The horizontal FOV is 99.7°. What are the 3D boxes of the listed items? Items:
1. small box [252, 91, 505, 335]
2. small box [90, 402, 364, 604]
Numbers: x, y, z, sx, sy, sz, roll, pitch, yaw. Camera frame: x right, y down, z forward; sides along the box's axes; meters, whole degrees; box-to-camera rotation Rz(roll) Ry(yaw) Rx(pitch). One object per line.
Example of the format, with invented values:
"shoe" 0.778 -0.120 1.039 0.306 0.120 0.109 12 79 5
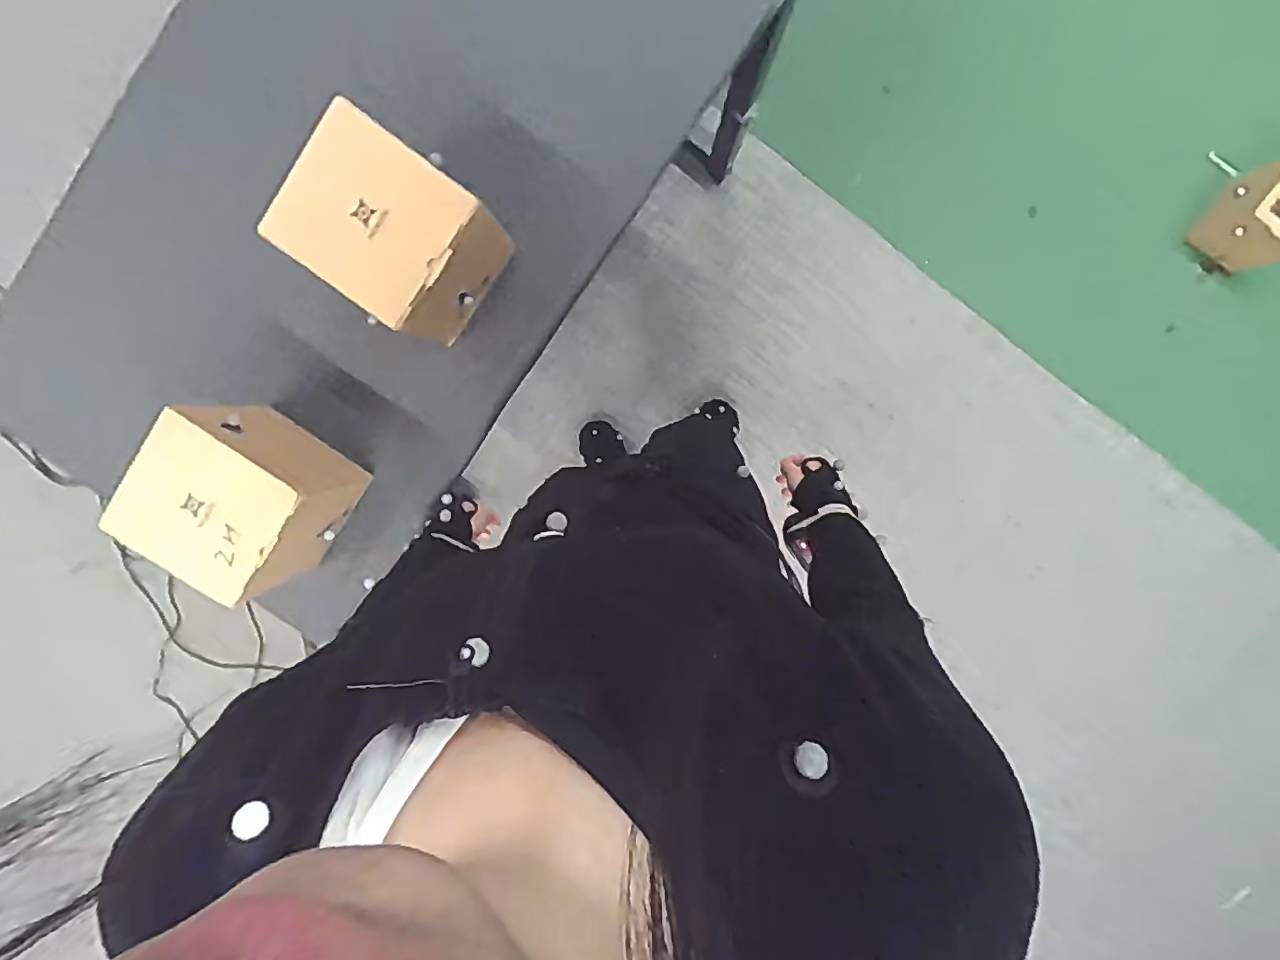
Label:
"small box" -0.288 -0.290 0.639 0.179 0.176 0.168 35 96 -6
"small box" -0.496 0.020 0.678 0.179 0.176 0.168 35 96 -5
